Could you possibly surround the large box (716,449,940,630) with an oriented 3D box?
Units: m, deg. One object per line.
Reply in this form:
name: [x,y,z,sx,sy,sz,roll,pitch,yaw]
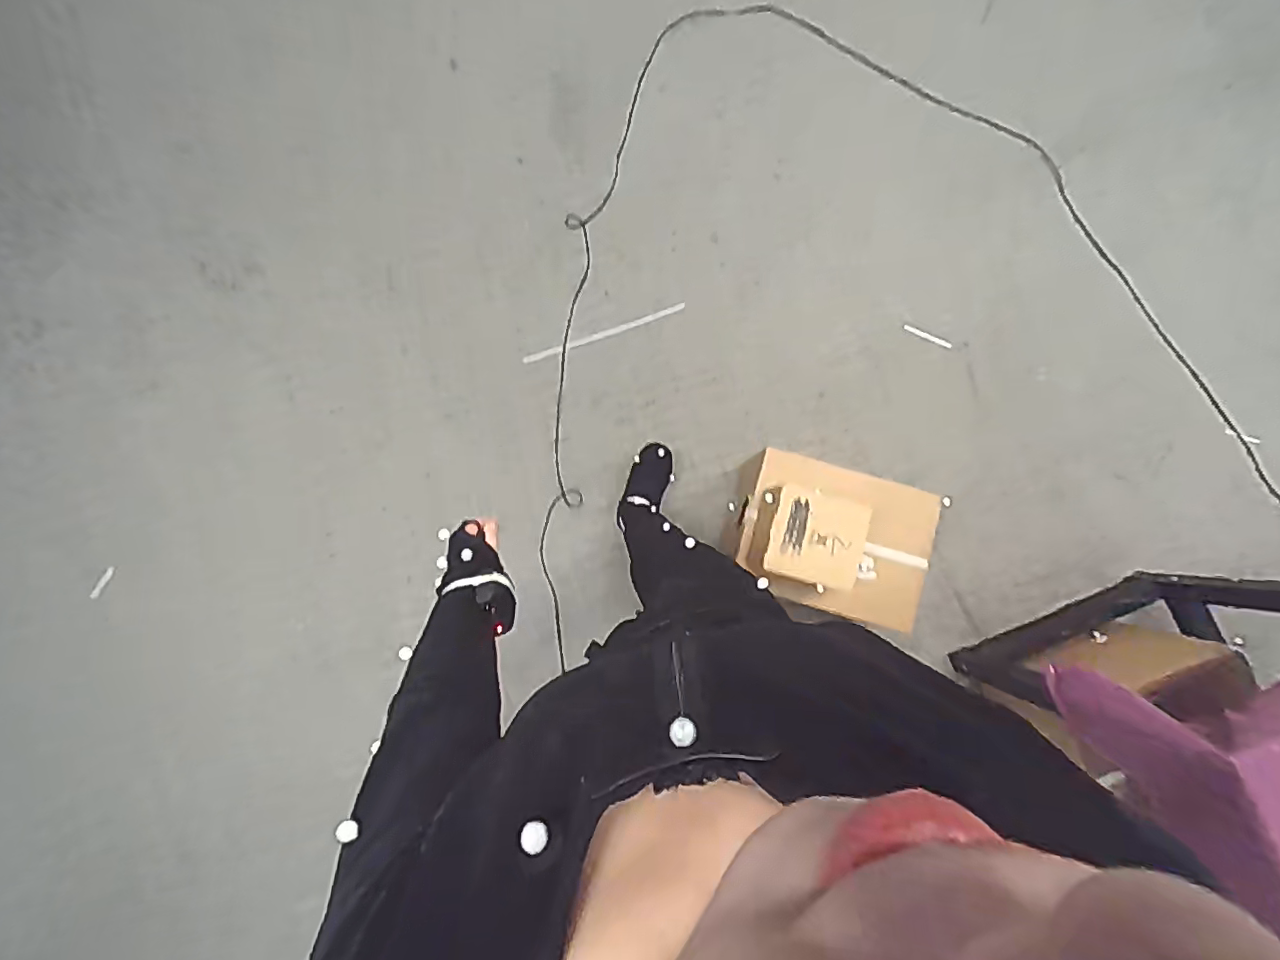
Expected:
large box: [0.430,0.141,1.326,0.408,0.320,0.320,16,86,2]
